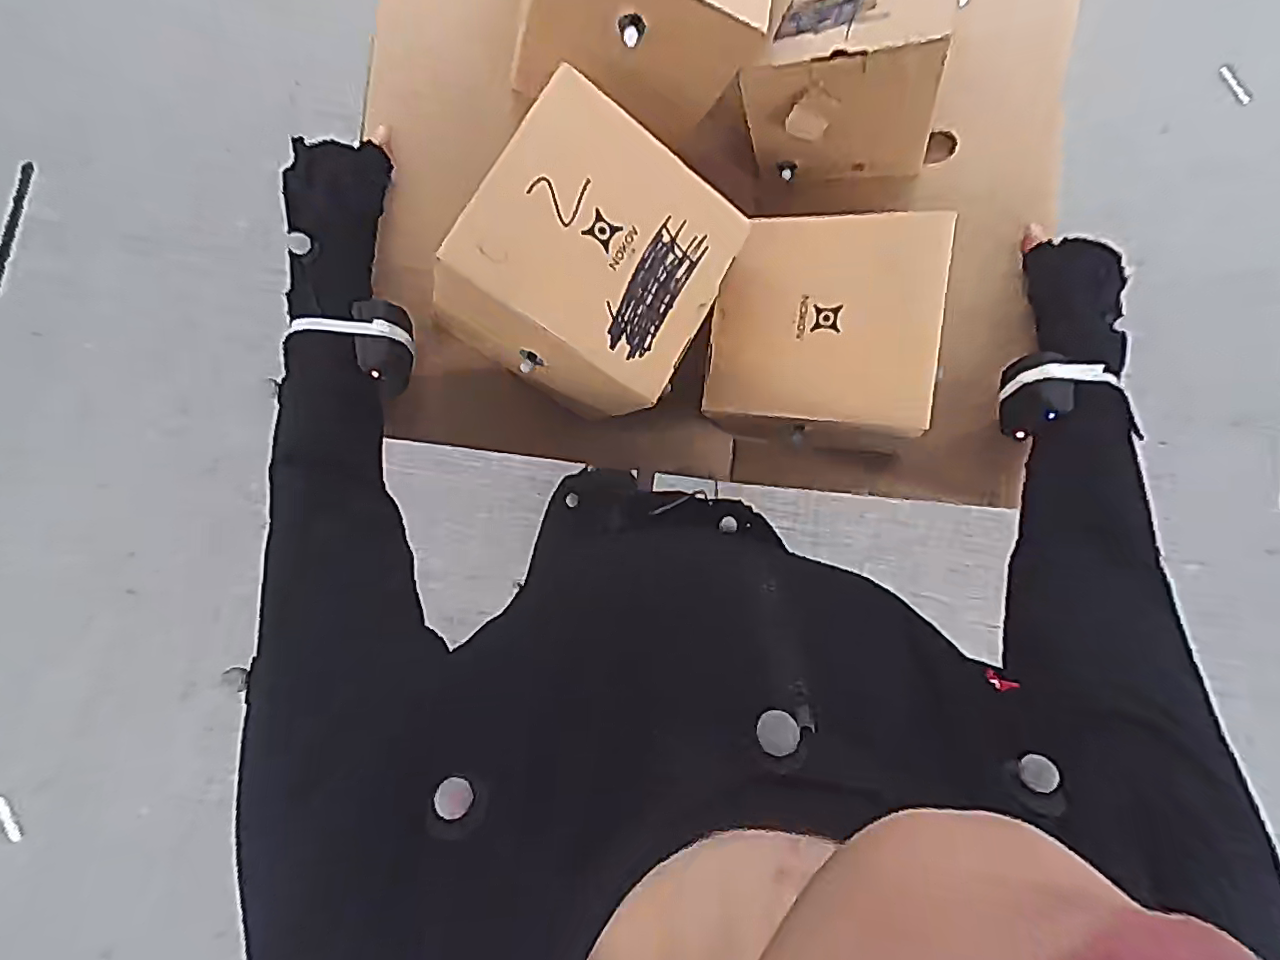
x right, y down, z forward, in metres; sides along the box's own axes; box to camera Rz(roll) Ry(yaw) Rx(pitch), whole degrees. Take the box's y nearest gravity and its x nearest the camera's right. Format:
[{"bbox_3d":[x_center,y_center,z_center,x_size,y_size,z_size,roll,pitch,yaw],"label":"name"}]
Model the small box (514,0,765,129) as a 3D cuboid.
[{"bbox_3d":[-0.003,-0.446,0.464,0.179,0.176,0.168,8,89,-22],"label":"small box"}]
